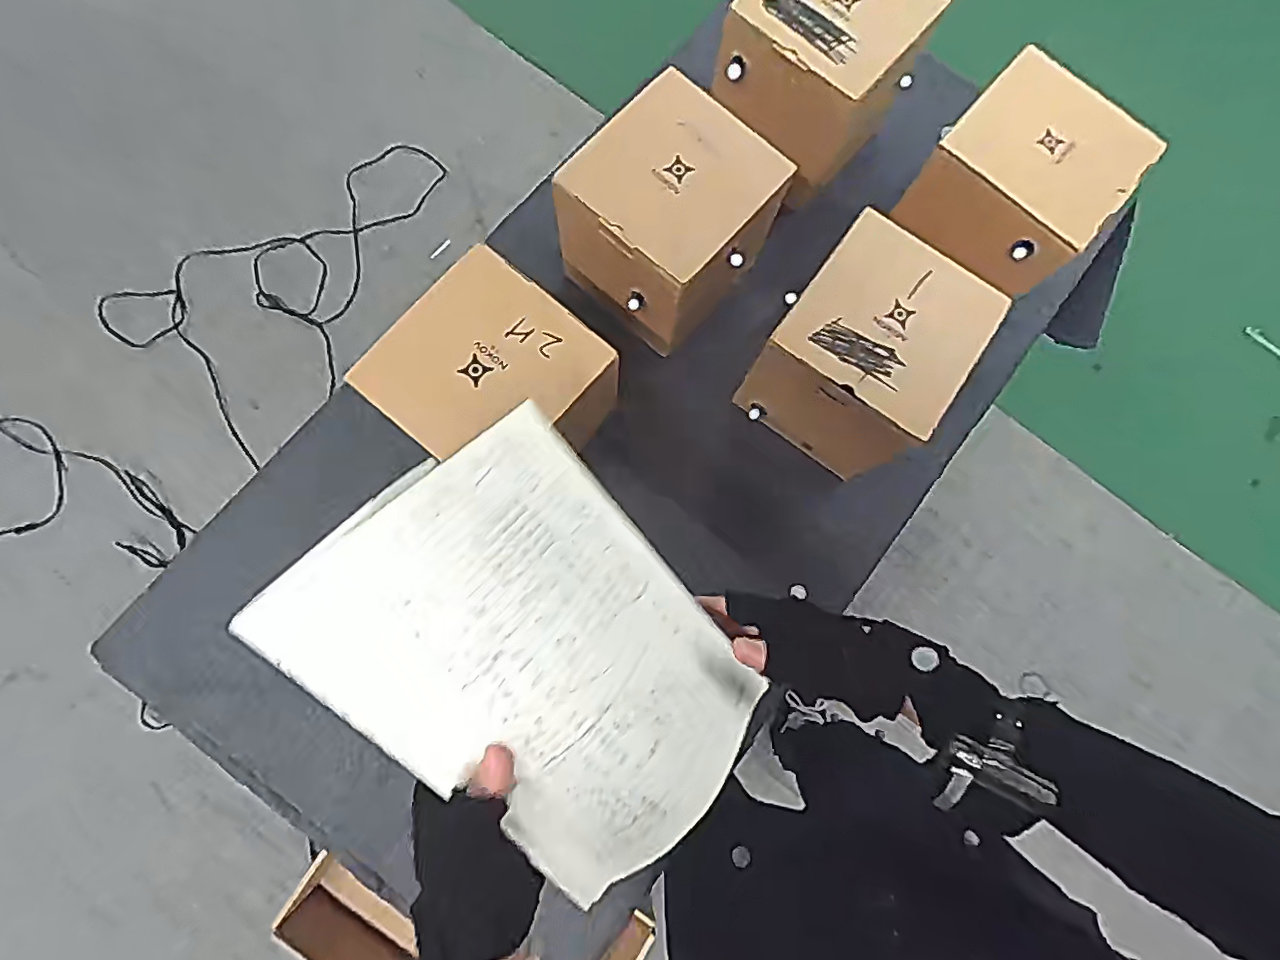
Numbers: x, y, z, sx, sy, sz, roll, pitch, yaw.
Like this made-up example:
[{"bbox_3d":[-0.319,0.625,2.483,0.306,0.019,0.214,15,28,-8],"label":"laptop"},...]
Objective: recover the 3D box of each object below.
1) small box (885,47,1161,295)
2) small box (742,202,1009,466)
[{"bbox_3d":[0.406,-0.322,0.618,0.179,0.176,0.168,42,80,5],"label":"small box"},{"bbox_3d":[0.226,-0.137,0.572,0.168,0.176,0.179,36,79,4],"label":"small box"}]
